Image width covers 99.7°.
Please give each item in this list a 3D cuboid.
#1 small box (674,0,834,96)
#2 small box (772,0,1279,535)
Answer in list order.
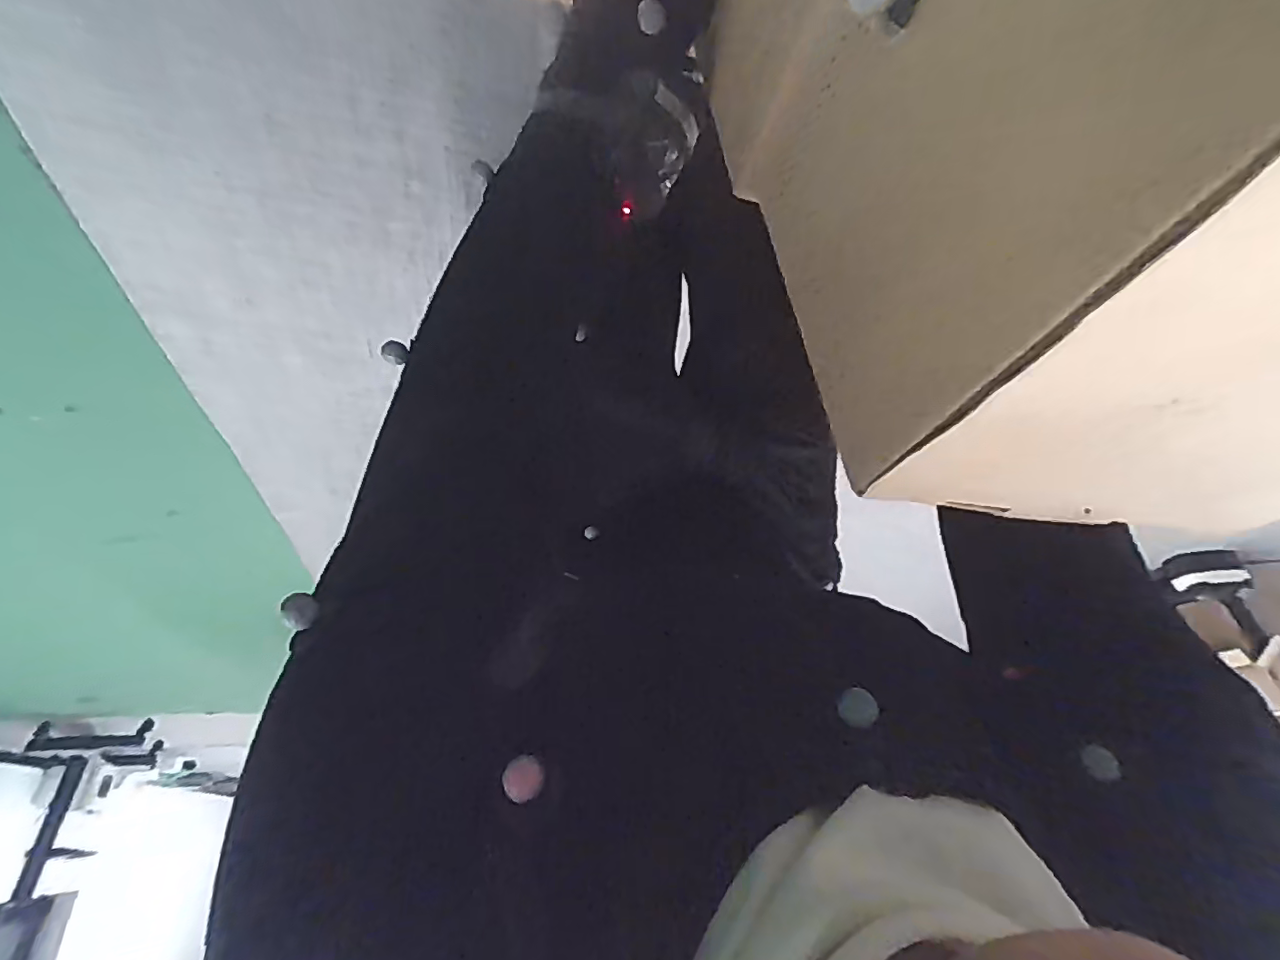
[{"bbox_3d":[0.122,-0.372,0.344,0.179,0.176,0.168,2,149,-14],"label":"small box"},{"bbox_3d":[0.155,-0.100,0.162,0.168,0.176,0.179,6,148,-15],"label":"small box"}]
